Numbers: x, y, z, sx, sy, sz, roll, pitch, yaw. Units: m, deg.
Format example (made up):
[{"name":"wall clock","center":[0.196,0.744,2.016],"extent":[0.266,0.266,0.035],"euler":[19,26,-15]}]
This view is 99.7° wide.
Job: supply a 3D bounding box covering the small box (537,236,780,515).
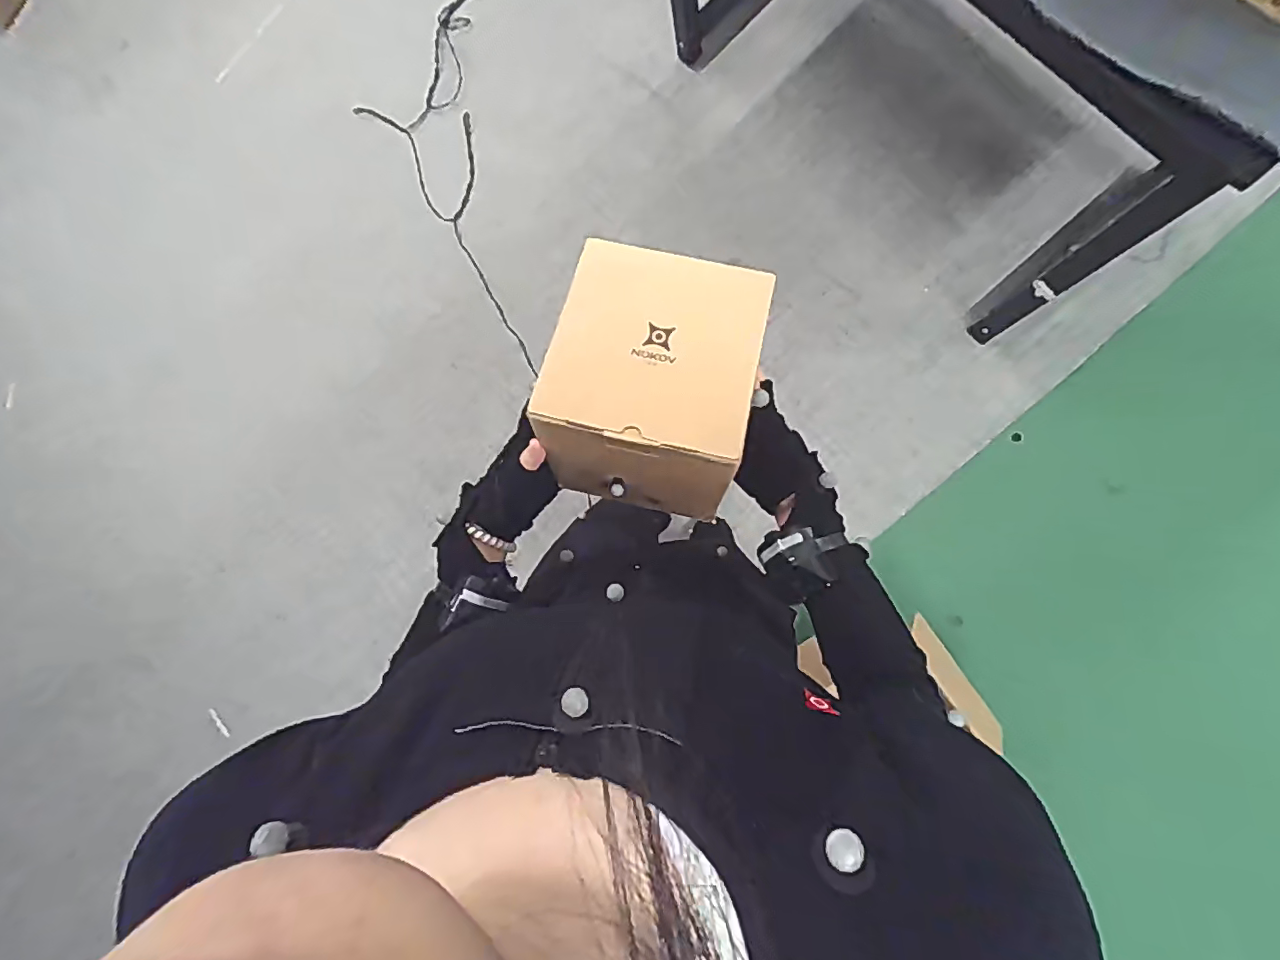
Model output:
[{"name":"small box","center":[0.017,-0.085,0.503],"extent":[0.168,0.176,0.179],"euler":[13,72,3]}]
